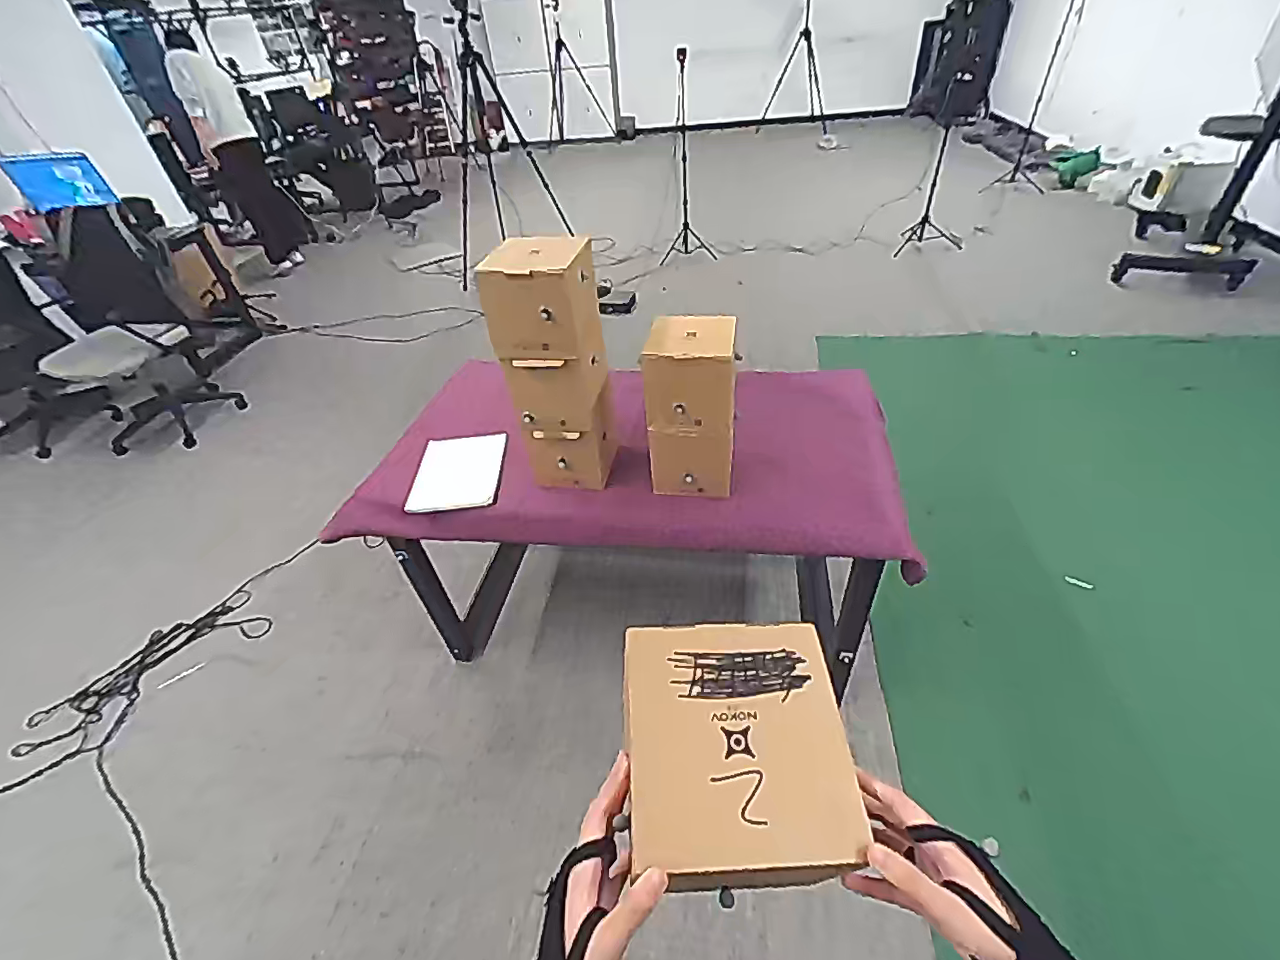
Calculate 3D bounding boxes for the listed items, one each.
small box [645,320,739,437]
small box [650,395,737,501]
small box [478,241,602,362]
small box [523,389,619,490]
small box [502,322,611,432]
[{"bbox_3d":[0.107,-0.205,1.084,0.168,0.176,0.179,4,41,11],"label":"small box"},{"bbox_3d":[0.121,-0.077,1.183,0.168,0.176,0.179,3,41,11],"label":"small box"},{"bbox_3d":[-0.175,-0.335,1.018,0.168,0.176,0.179,5,41,11],"label":"small box"},{"bbox_3d":[-0.148,-0.094,1.238,0.168,0.176,0.179,4,42,10],"label":"small box"},{"bbox_3d":[-0.162,-0.215,1.127,0.168,0.176,0.179,4,40,11],"label":"small box"}]
